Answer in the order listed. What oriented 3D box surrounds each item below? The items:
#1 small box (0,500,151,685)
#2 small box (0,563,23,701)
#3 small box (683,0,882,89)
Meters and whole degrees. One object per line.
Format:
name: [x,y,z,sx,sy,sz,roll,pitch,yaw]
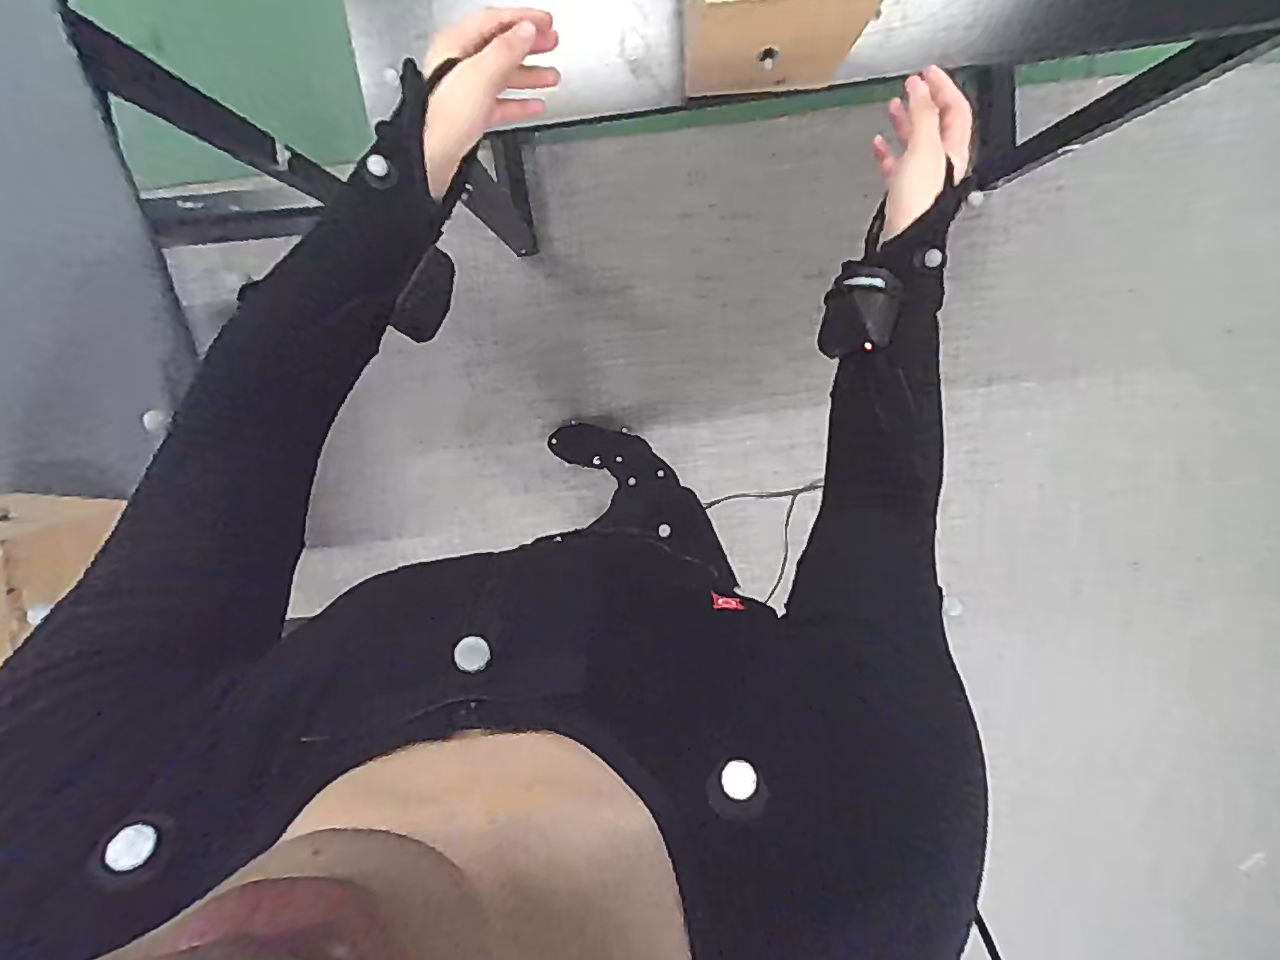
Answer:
small box: [-0.746,0.125,0.655,0.179,0.176,0.168,3,102,-1]
small box: [-0.739,0.154,0.494,0.168,0.176,0.179,9,102,-1]
small box: [0.132,-0.516,0.530,0.168,0.176,0.179,-4,101,0]
